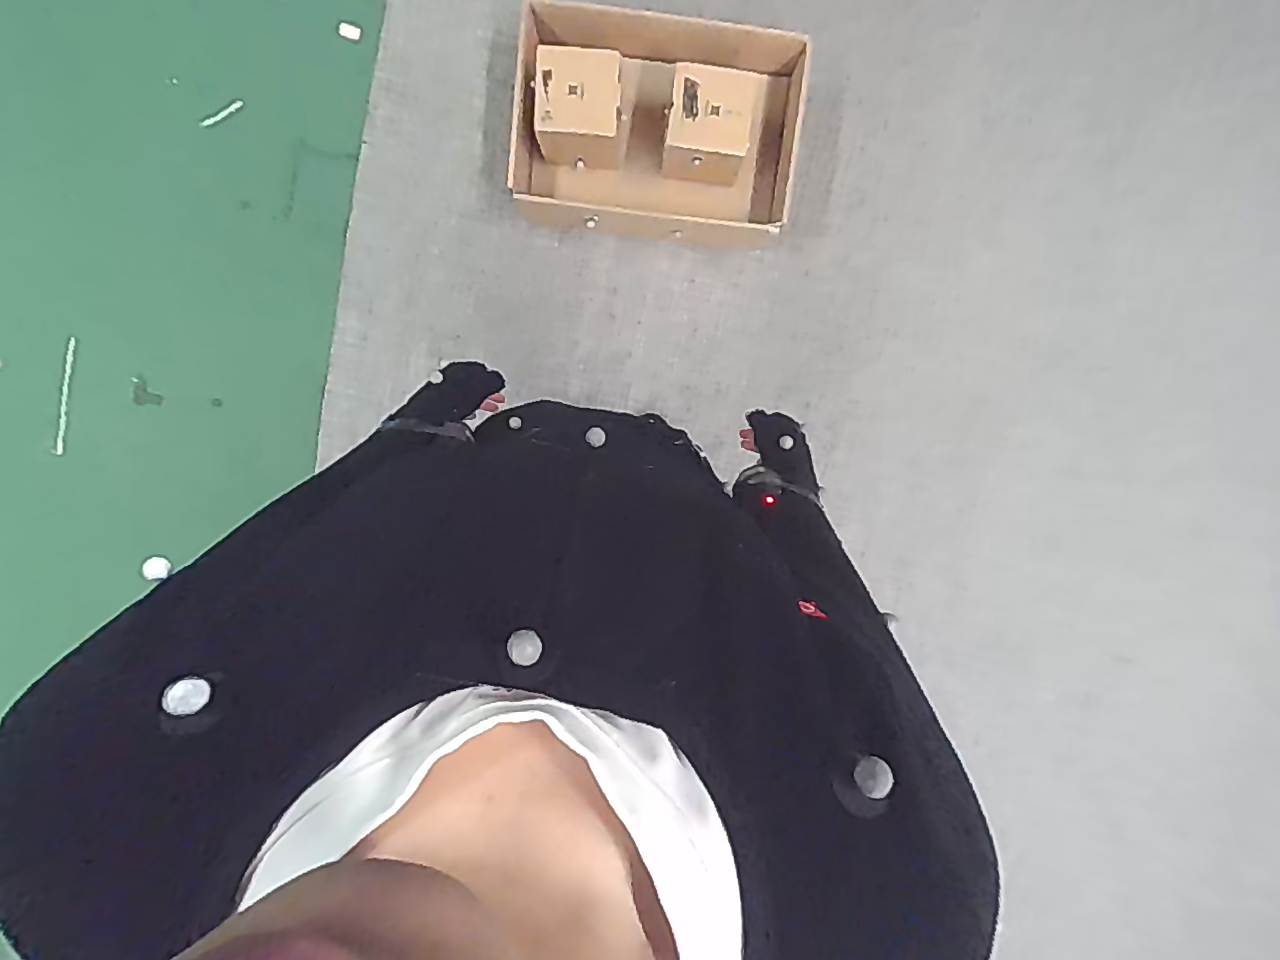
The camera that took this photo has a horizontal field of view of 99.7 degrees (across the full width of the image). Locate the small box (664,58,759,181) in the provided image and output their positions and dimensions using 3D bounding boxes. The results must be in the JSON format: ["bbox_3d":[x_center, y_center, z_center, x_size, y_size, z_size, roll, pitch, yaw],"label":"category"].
[{"bbox_3d":[0.151,-0.795,1.211,0.179,0.176,0.168,8,99,-1],"label":"small box"}]

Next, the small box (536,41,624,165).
[{"bbox_3d":[-0.129,-0.827,1.204,0.179,0.176,0.168,4,98,-3],"label":"small box"}]
